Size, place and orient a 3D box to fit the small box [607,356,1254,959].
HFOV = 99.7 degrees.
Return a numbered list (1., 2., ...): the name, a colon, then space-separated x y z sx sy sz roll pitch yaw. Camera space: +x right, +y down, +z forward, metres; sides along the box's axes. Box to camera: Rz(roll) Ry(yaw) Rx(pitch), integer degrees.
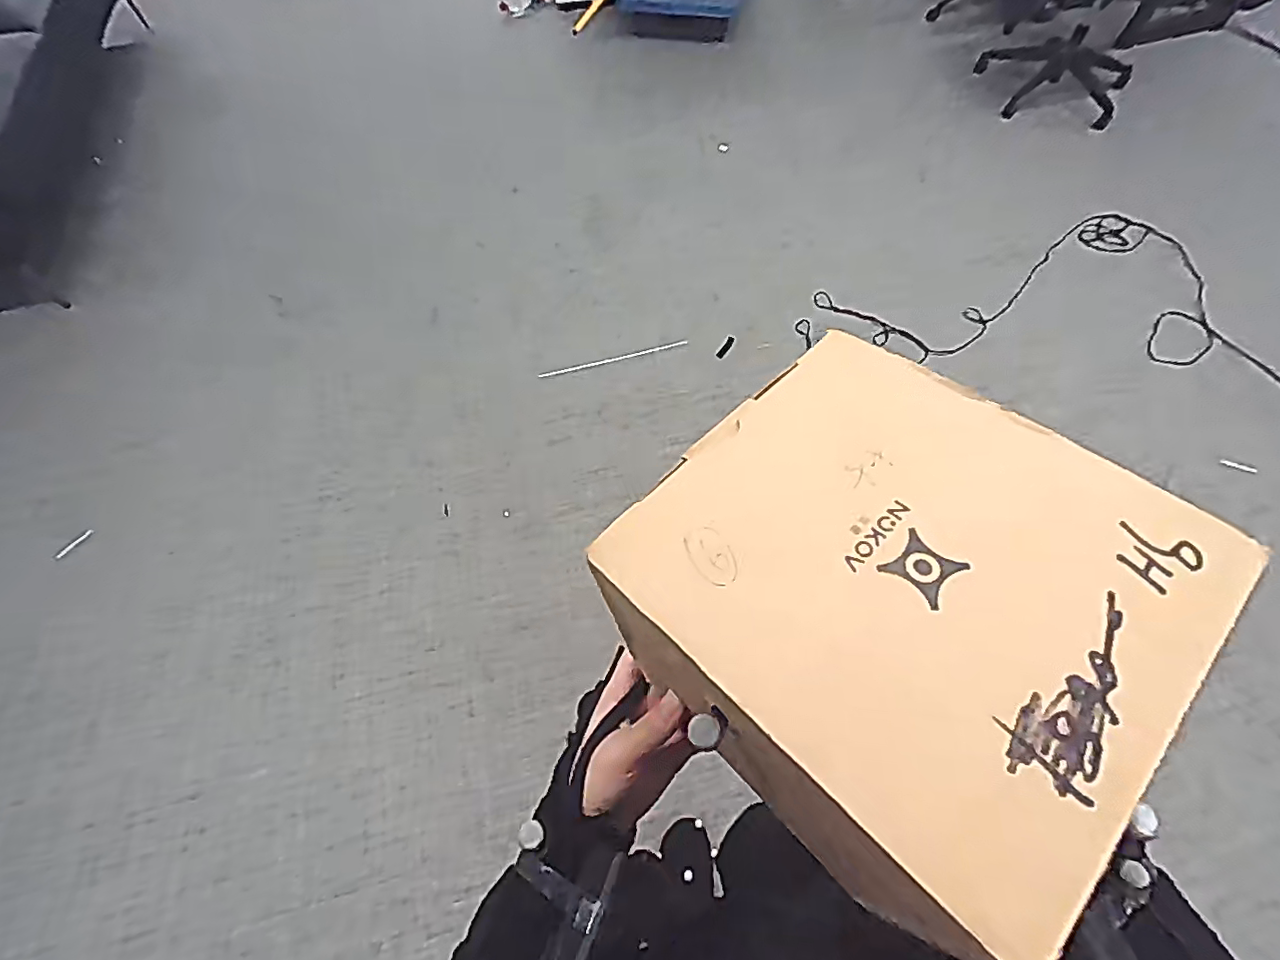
1. small box: 0.110 0.078 0.271 0.168 0.176 0.179 -42 60 -18
